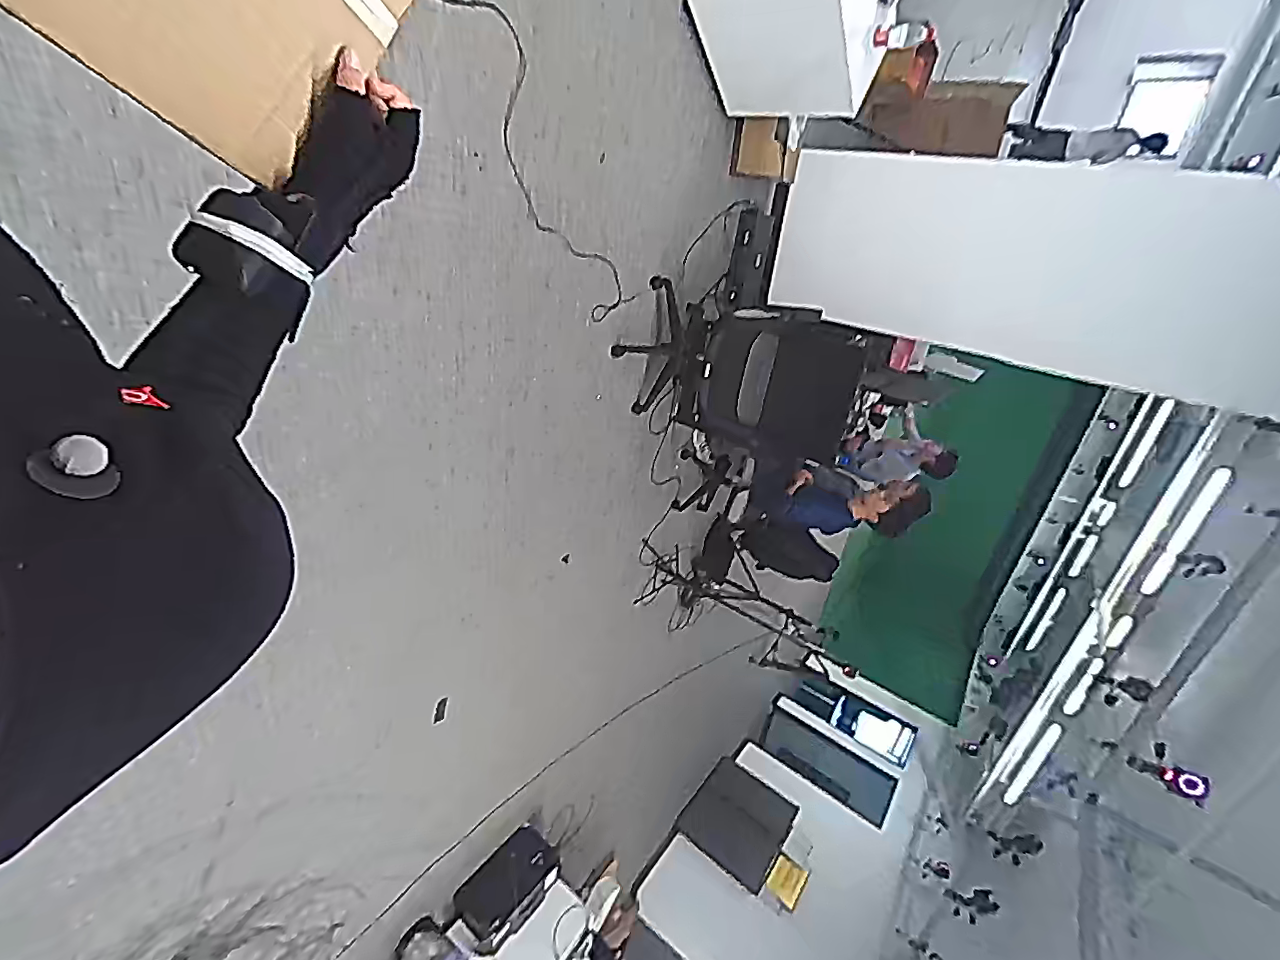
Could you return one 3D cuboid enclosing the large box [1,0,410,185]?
[{"bbox_3d":[-0.393,-0.490,0.339,0.320,0.320,0.408,-52,151,4],"label":"large box"}]
